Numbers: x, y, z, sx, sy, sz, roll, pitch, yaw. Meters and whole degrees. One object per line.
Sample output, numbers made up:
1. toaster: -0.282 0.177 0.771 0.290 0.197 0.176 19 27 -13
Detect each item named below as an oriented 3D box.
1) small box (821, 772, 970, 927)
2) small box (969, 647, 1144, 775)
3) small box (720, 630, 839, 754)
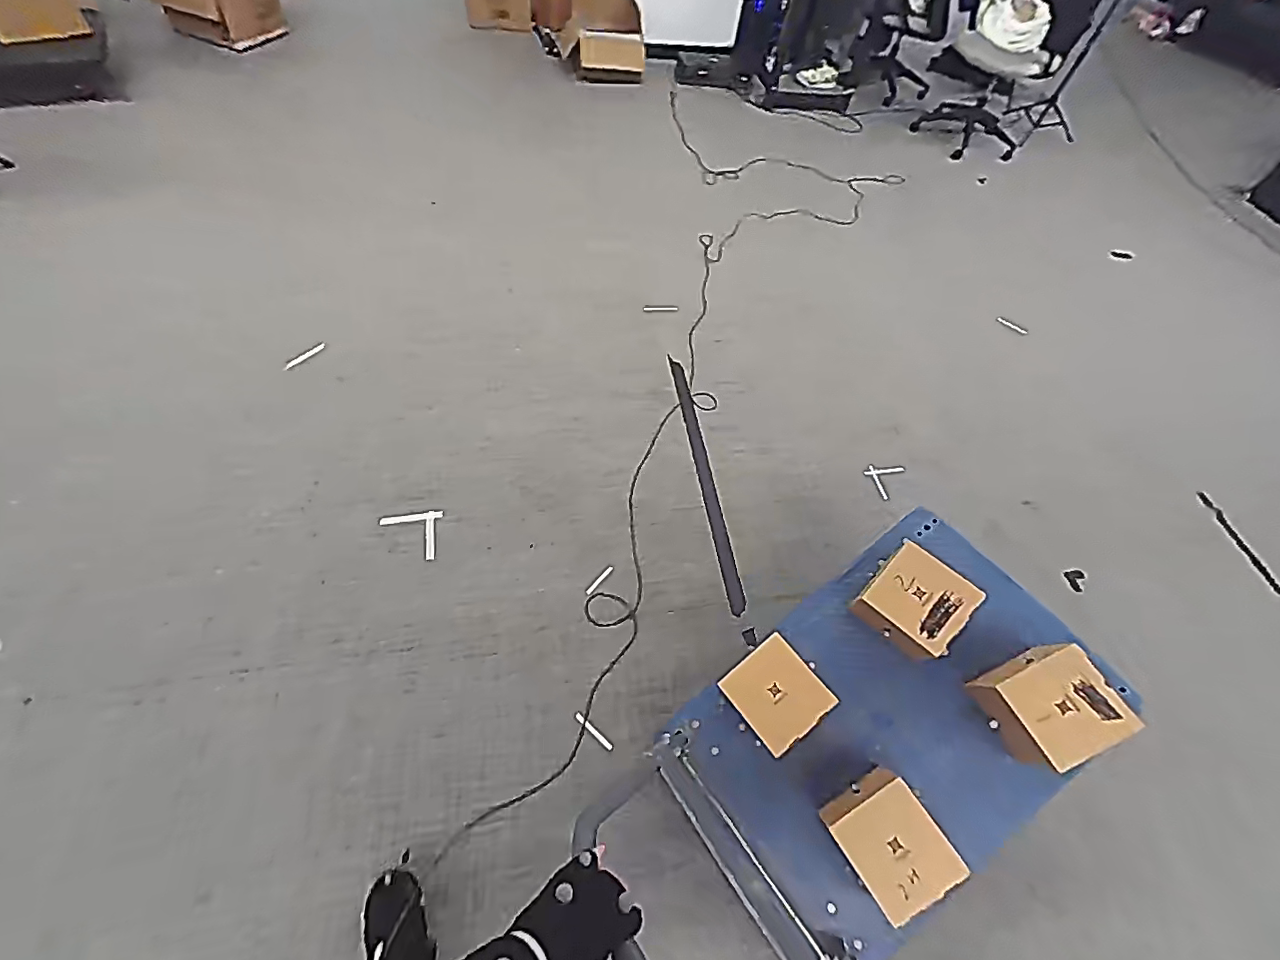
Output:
1. small box: 0.466 0.678 1.023 0.168 0.176 0.179 -33 66 -2
2. small box: 0.792 0.442 1.052 0.179 0.176 0.168 -28 66 0
3. small box: 0.287 0.447 1.149 0.168 0.176 0.179 -39 69 -6
